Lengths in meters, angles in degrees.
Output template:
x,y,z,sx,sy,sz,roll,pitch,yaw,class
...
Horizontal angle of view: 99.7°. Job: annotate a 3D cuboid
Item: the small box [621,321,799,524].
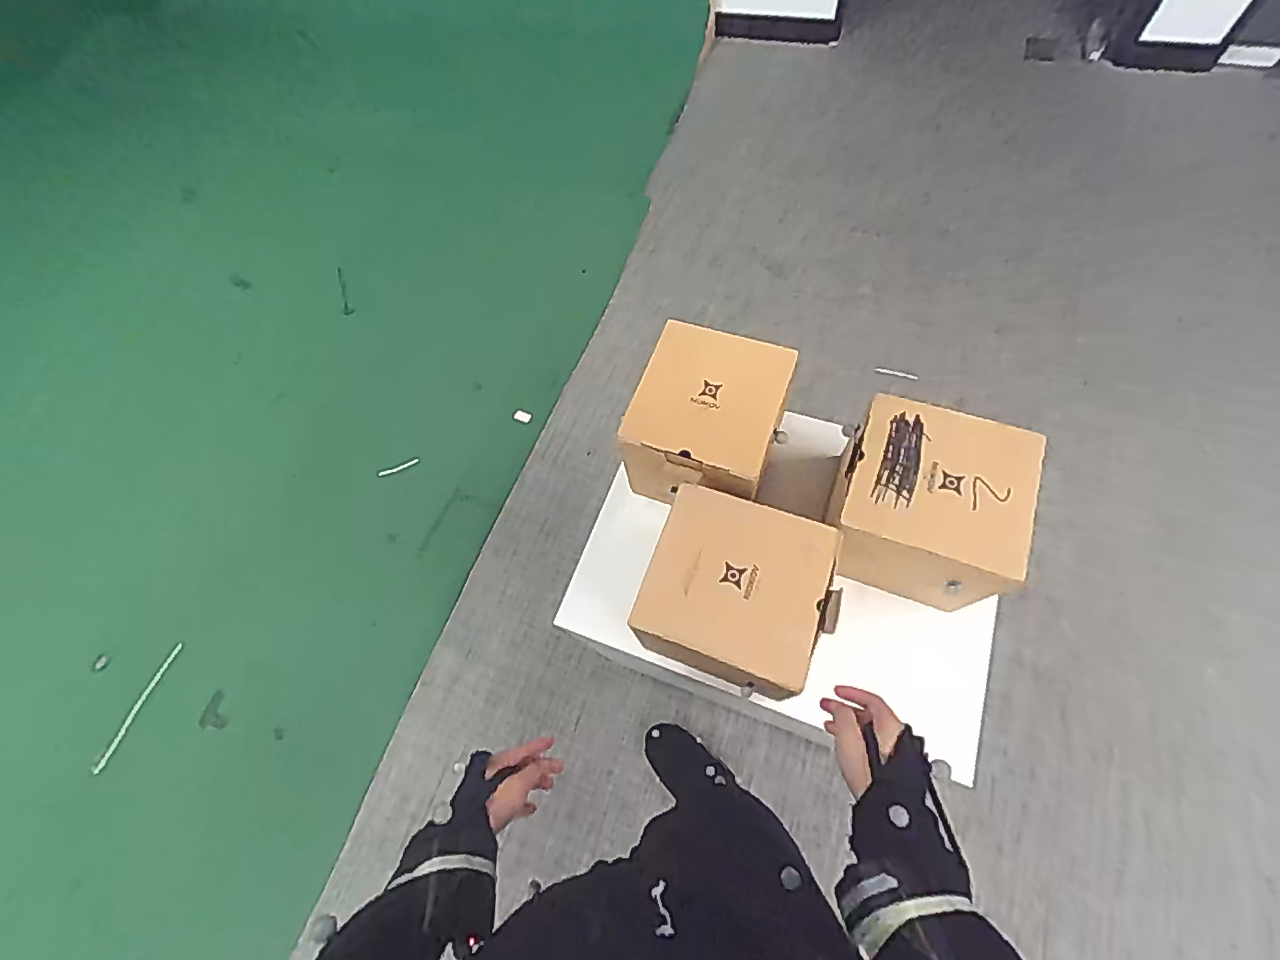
x,y,z,sx,sy,sz,roll,pitch,yaw,class
0.088,-0.067,0.696,0.168,0.176,0.179,18,70,13,small box
